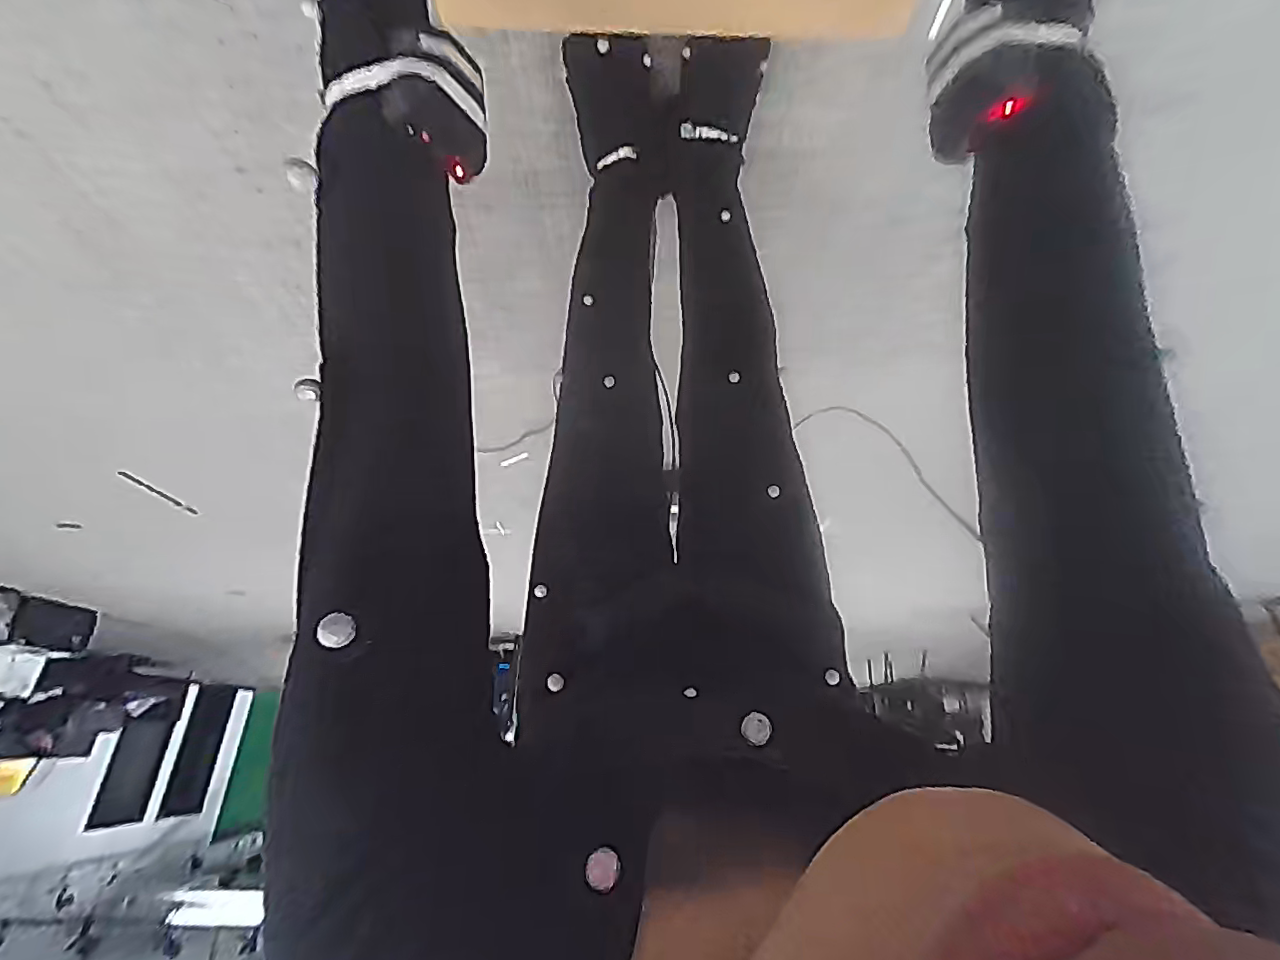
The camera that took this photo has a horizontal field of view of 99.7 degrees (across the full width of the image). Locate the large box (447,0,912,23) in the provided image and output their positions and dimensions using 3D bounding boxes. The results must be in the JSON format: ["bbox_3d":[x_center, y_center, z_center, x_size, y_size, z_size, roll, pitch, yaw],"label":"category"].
[{"bbox_3d":[0.031,-0.599,0.396,0.408,0.320,0.320,-1,155,-2],"label":"large box"}]
